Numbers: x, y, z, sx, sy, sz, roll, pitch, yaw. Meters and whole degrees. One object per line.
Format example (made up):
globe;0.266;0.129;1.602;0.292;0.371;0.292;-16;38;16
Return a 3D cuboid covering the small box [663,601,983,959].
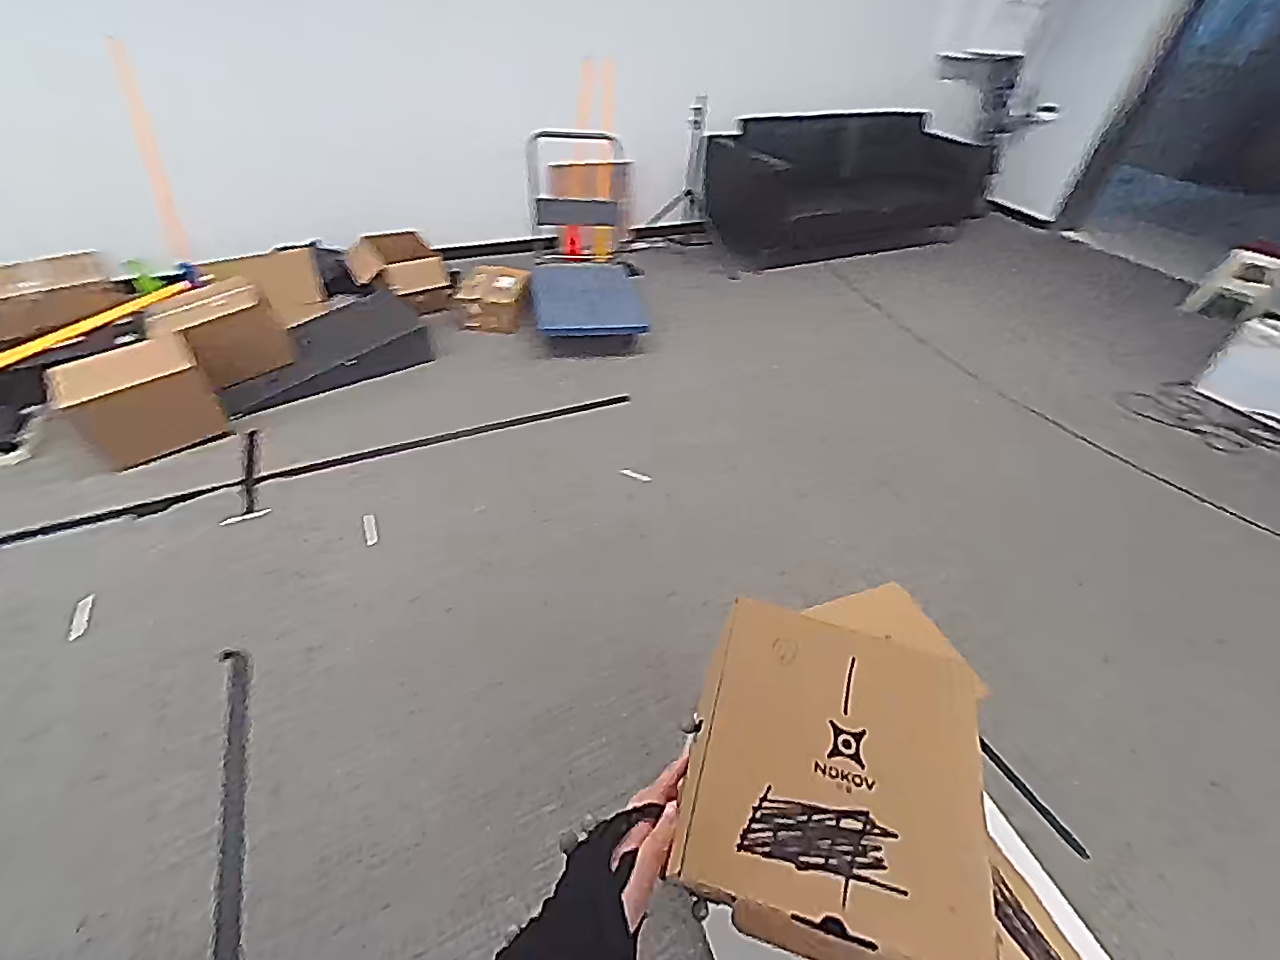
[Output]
small box;0.116;0.220;0.395;0.168;0.176;0.179;14;53;8

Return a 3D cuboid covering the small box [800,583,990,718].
small box;0.305;0.272;0.726;0.168;0.176;0.179;-12;46;-17
